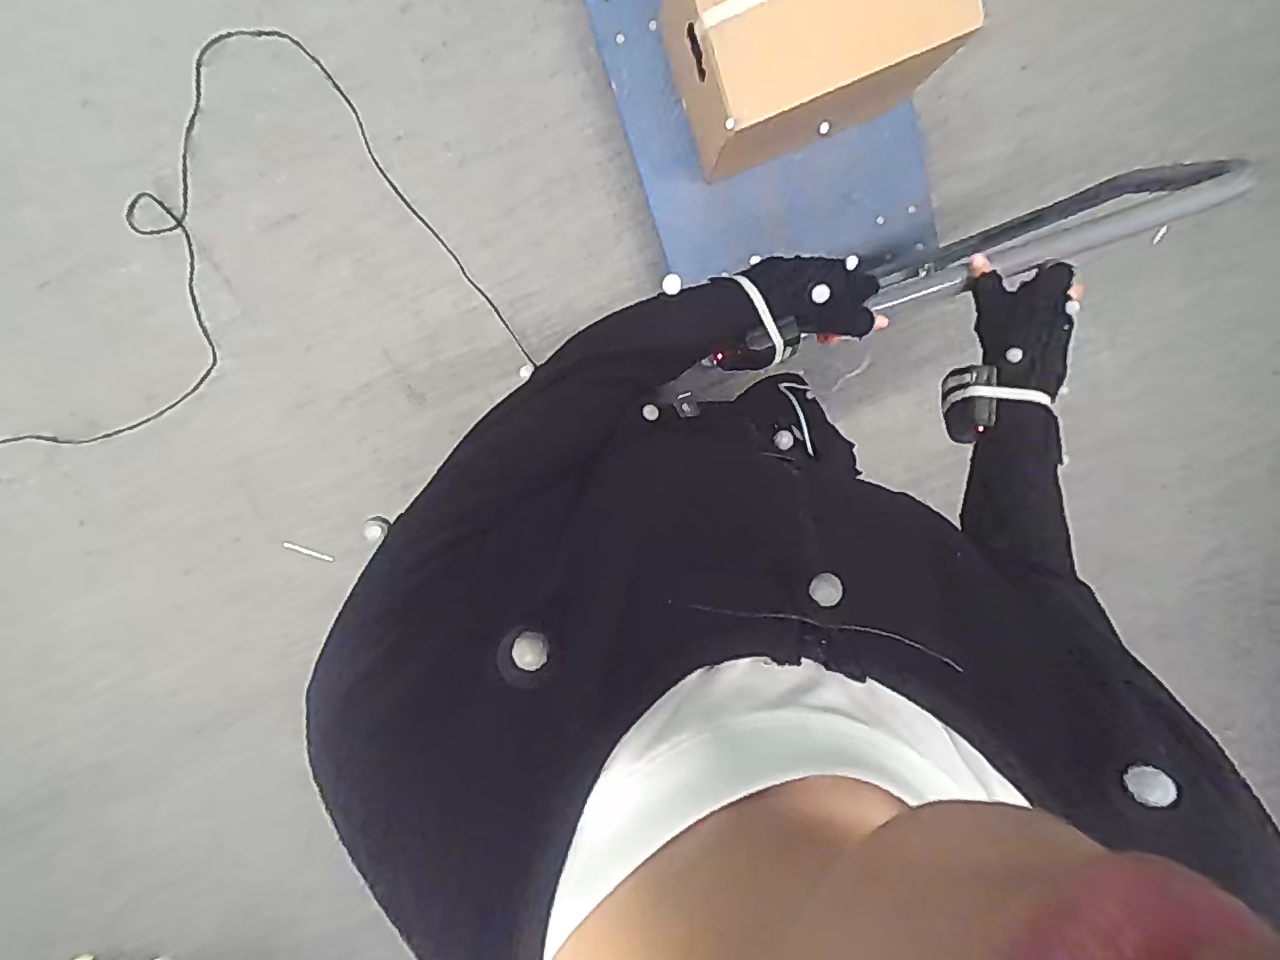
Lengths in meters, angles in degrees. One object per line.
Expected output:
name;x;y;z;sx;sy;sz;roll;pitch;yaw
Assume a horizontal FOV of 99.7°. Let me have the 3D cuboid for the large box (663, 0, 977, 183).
large box;0.283;-0.800;0.959;0.408;0.320;0.320;-21;103;6
